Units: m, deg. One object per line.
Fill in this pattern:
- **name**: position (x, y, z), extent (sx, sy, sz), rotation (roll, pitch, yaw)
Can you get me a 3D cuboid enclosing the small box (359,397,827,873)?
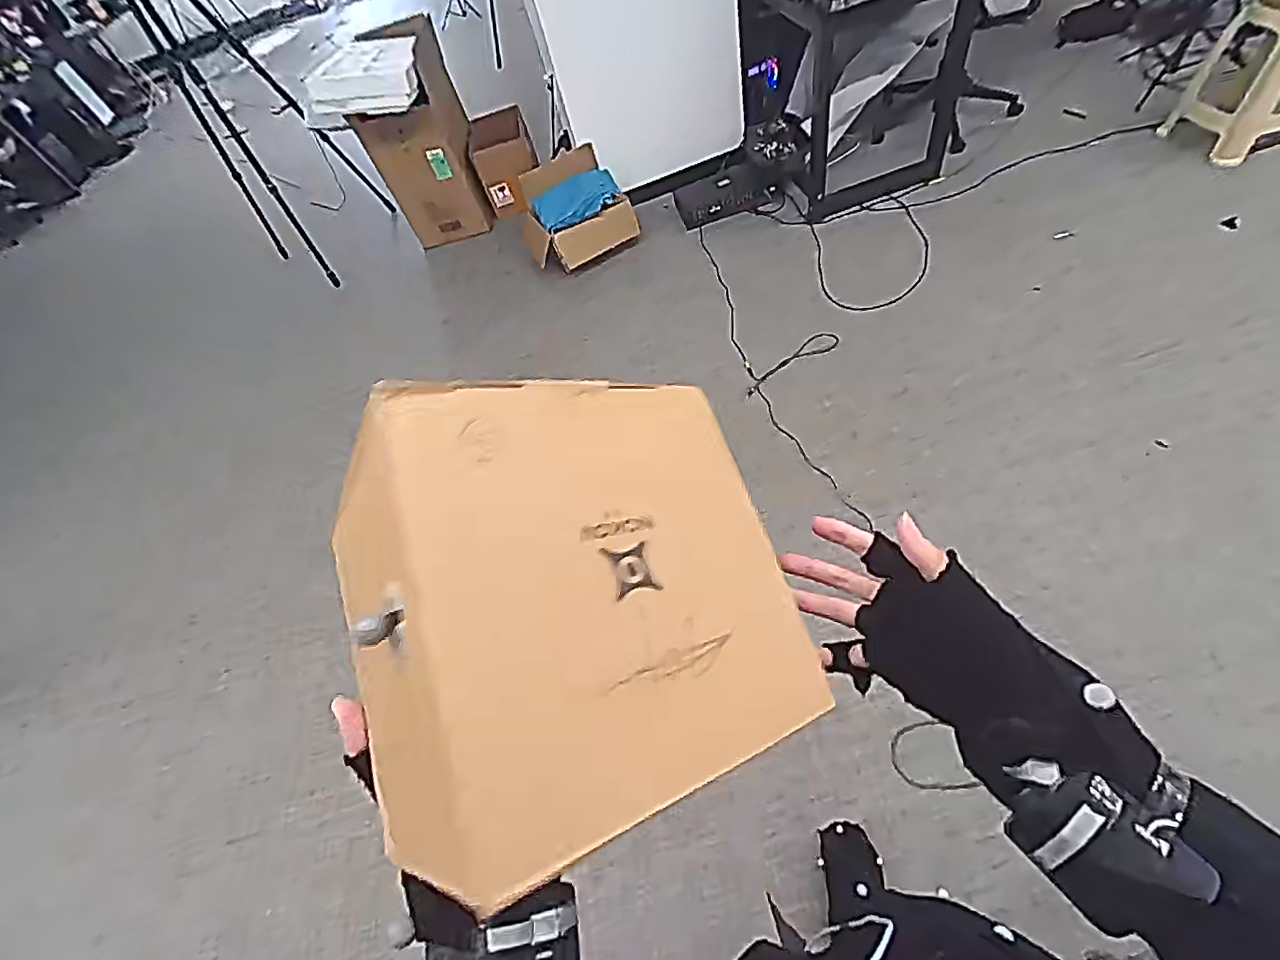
- **small box**: position (-0.043, 0.075, 0.295), extent (0.168, 0.176, 0.179), rotation (-5, 67, -37)
